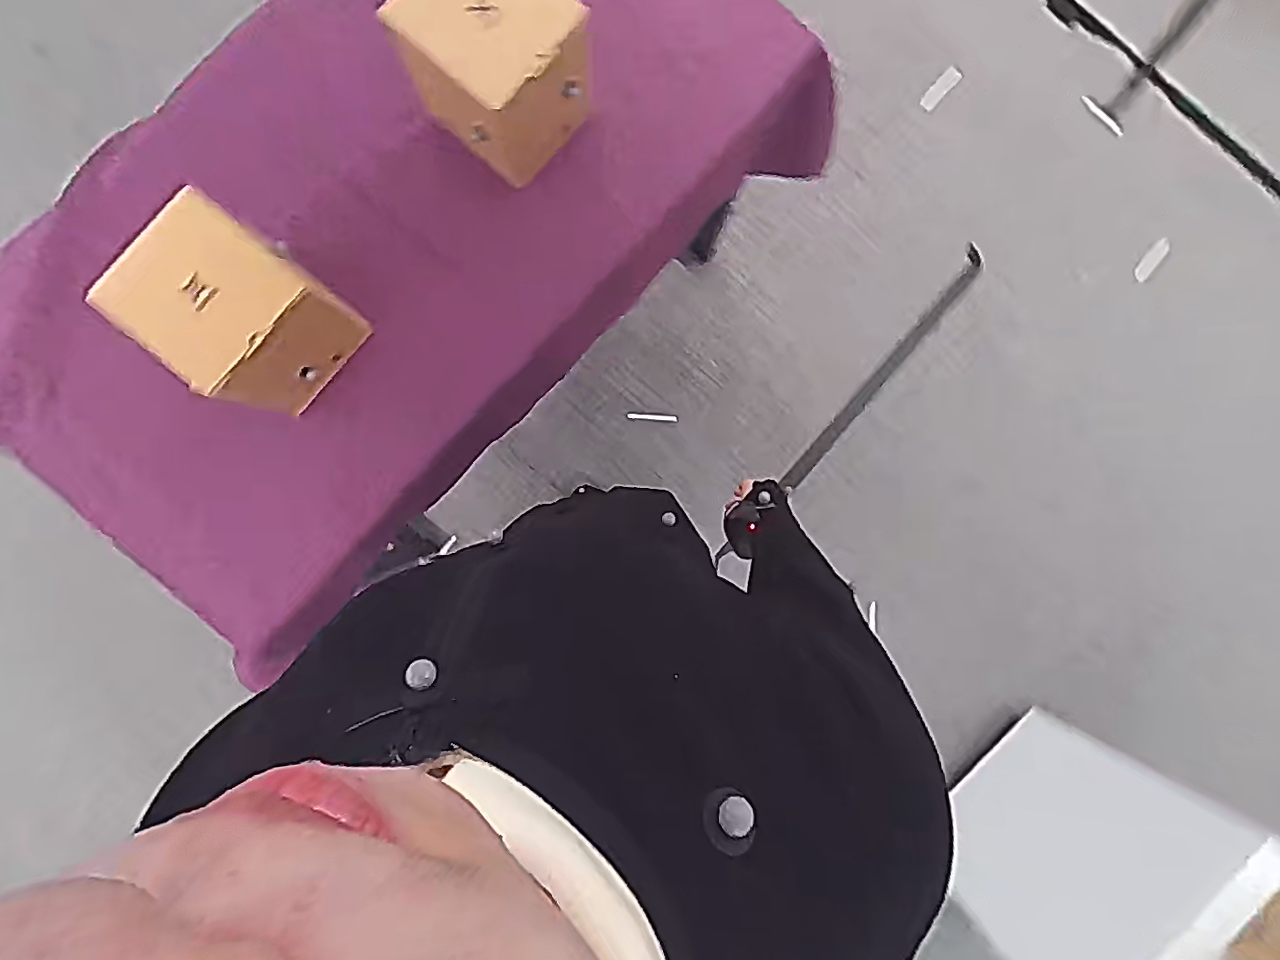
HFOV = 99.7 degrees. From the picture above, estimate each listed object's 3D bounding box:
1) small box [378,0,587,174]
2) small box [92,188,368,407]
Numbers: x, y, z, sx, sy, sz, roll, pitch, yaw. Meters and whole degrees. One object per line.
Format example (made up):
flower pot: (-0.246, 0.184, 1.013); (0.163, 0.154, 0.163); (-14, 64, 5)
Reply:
small box: (-0.183, -0.536, 0.695); (0.179, 0.176, 0.168); (40, 88, -1)
small box: (-0.492, -0.210, 0.680); (0.179, 0.176, 0.168); (40, 88, -3)
